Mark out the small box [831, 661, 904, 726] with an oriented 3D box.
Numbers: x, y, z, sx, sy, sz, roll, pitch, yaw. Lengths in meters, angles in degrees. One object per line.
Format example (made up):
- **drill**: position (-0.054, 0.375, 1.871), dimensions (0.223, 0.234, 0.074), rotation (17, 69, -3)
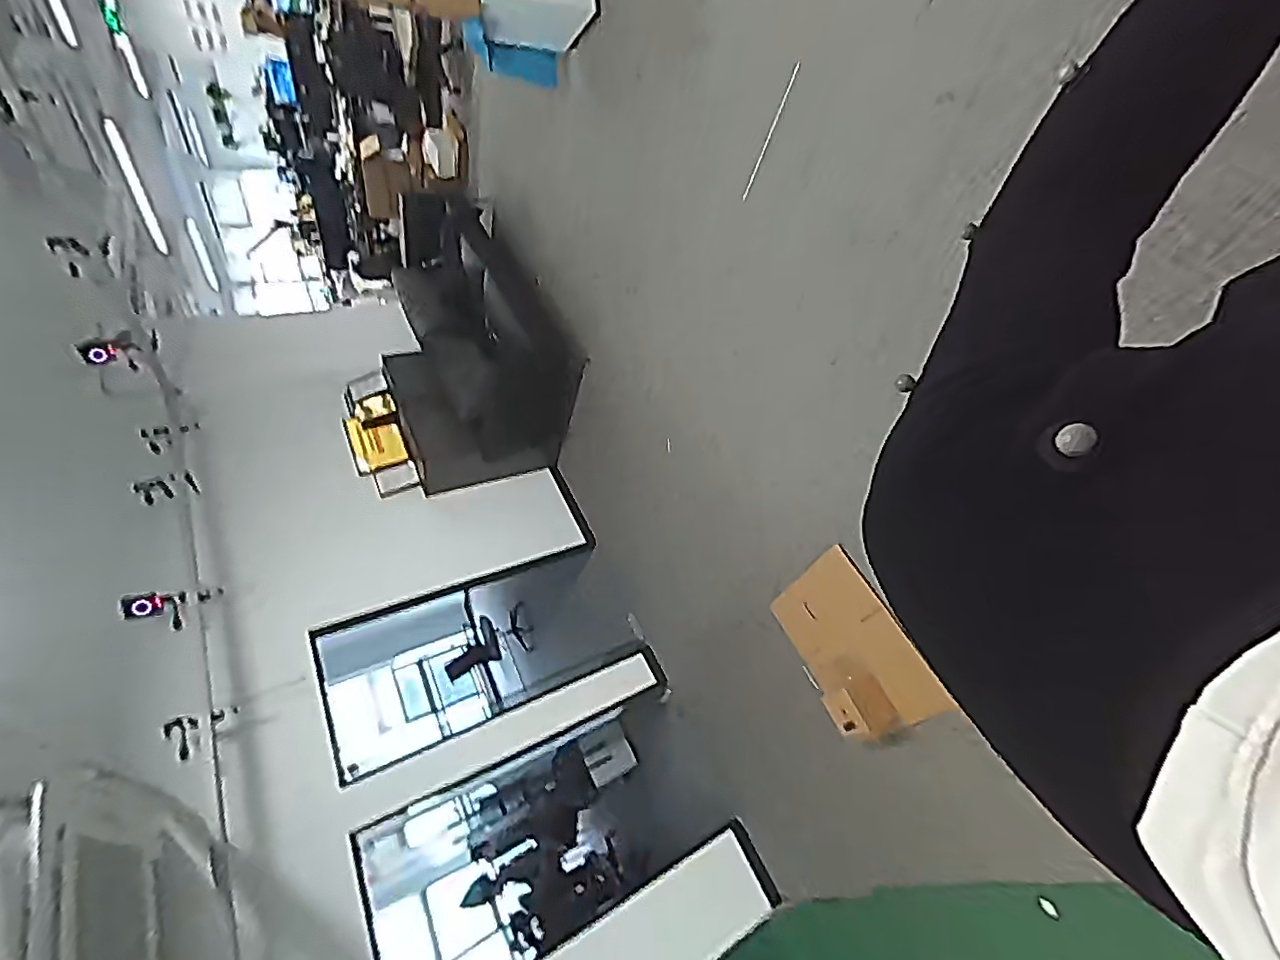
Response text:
- **small box**: position (0.915, 0.858, 2.173), dimensions (0.179, 0.176, 0.168), rotation (63, 150, 22)
